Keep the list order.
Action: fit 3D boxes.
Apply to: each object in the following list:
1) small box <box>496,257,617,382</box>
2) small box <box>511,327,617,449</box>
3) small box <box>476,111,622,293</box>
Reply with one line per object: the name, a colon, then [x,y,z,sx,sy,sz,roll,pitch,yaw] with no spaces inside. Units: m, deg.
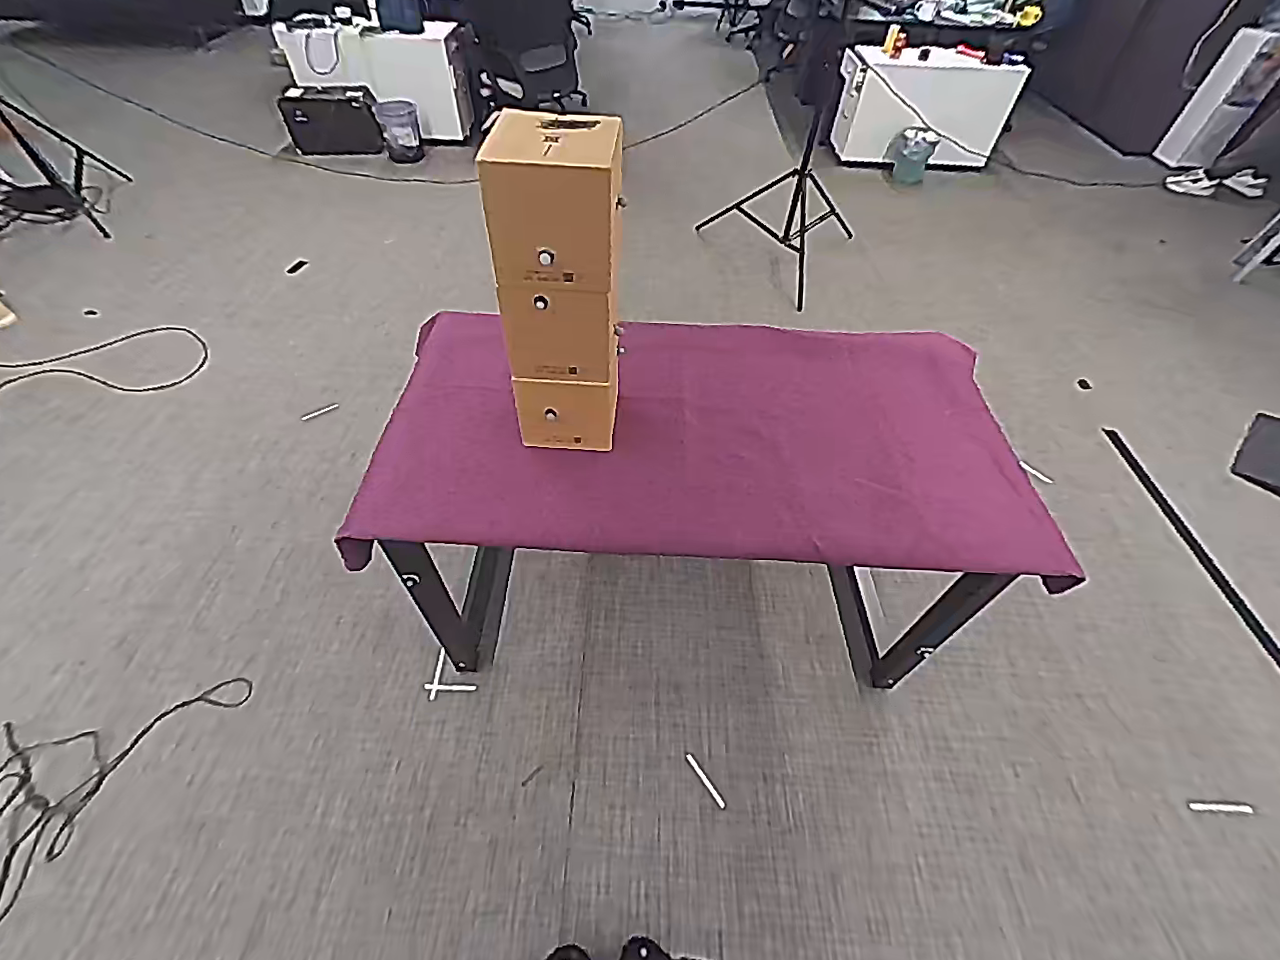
small box: [-0.126,-0.284,0.886,0.168,0.176,0.179,3,49,0]
small box: [-0.132,-0.175,1.009,0.168,0.176,0.179,3,50,0]
small box: [-0.115,-0.388,0.758,0.168,0.176,0.179,3,51,0]
